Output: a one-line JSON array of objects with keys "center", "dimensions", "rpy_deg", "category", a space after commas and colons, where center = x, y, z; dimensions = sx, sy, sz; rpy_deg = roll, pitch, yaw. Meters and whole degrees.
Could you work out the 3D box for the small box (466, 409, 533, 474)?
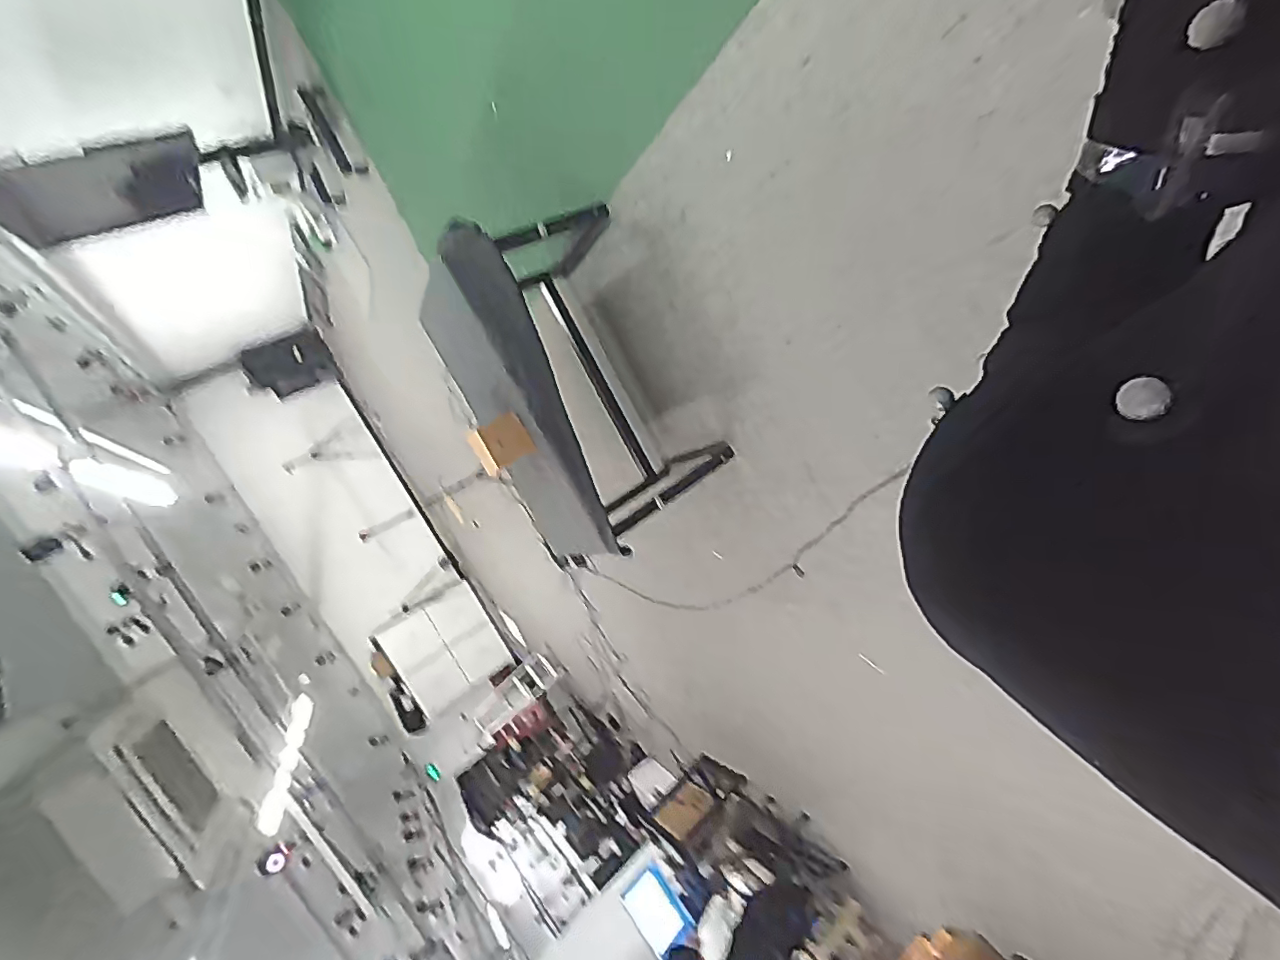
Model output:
[{"center": [-0.530, -0.145, 2.050], "dimensions": [0.168, 0.176, 0.179], "rpy_deg": [-13, 107, 60], "category": "small box"}]
